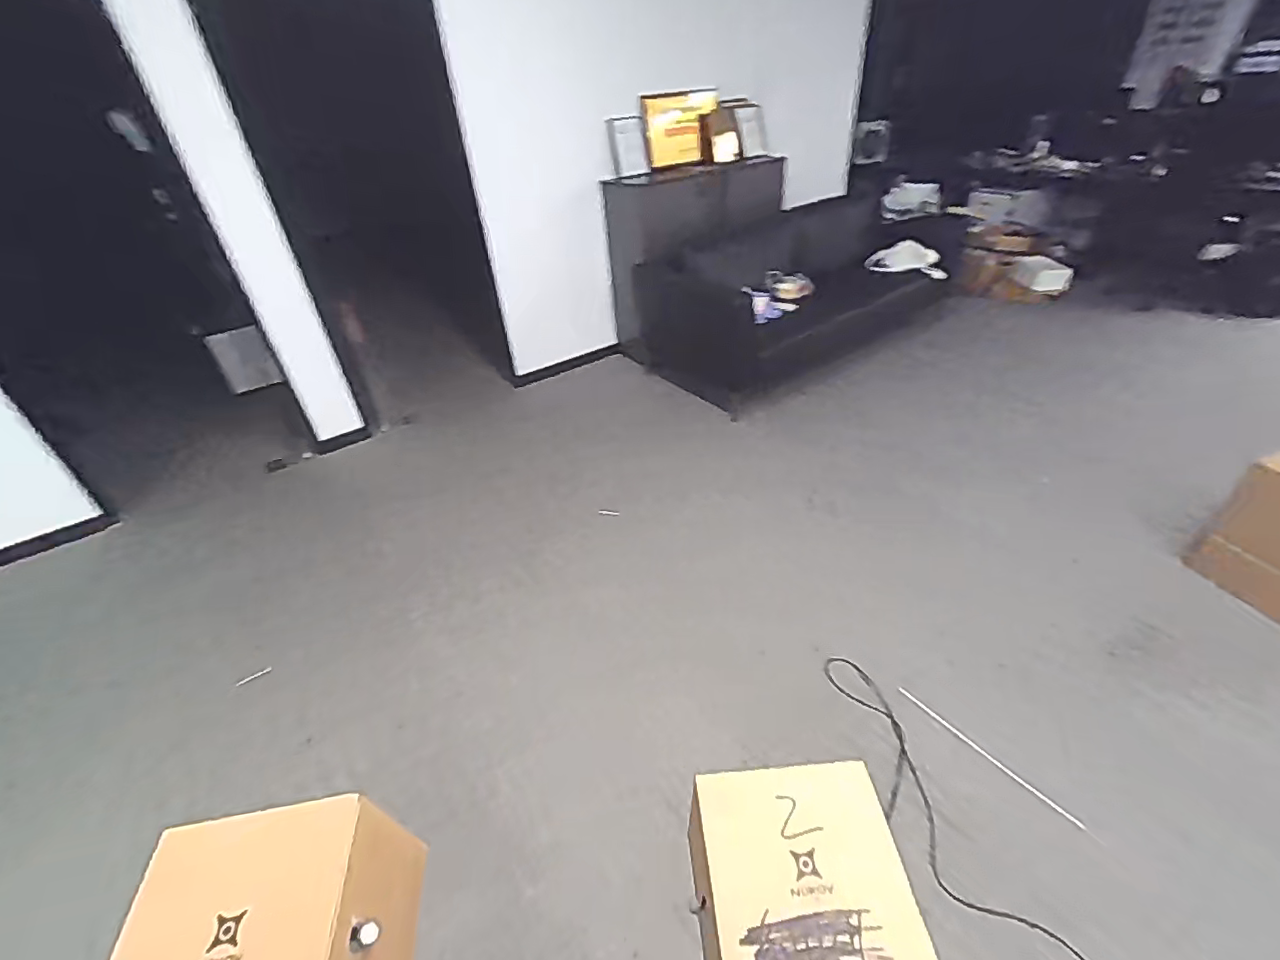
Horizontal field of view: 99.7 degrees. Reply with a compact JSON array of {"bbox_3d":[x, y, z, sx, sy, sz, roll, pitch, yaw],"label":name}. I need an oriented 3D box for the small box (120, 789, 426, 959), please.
[{"bbox_3d":[-0.299,0.396,0.464,0.168,0.176,0.179,-7,44,-3],"label":"small box"}]
